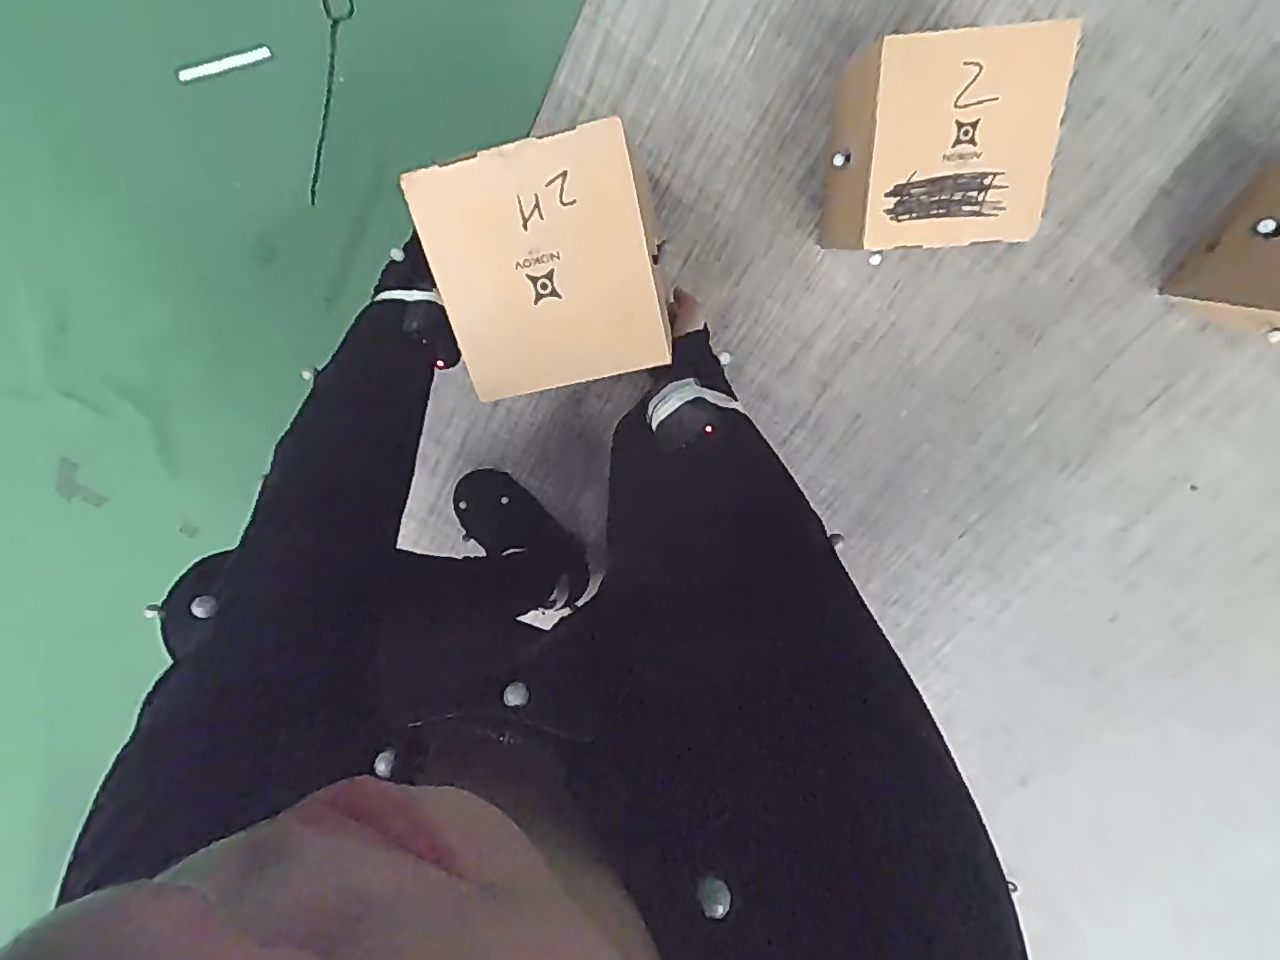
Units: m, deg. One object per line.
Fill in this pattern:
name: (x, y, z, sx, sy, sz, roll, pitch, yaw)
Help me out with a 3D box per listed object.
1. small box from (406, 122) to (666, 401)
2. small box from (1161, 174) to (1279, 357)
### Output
small box: (-0.070, -0.190, 0.486, 0.168, 0.176, 0.179, -10, 113, 7)
small box: (0.763, -0.234, 0.601, 0.179, 0.176, 0.168, 23, 114, -7)
